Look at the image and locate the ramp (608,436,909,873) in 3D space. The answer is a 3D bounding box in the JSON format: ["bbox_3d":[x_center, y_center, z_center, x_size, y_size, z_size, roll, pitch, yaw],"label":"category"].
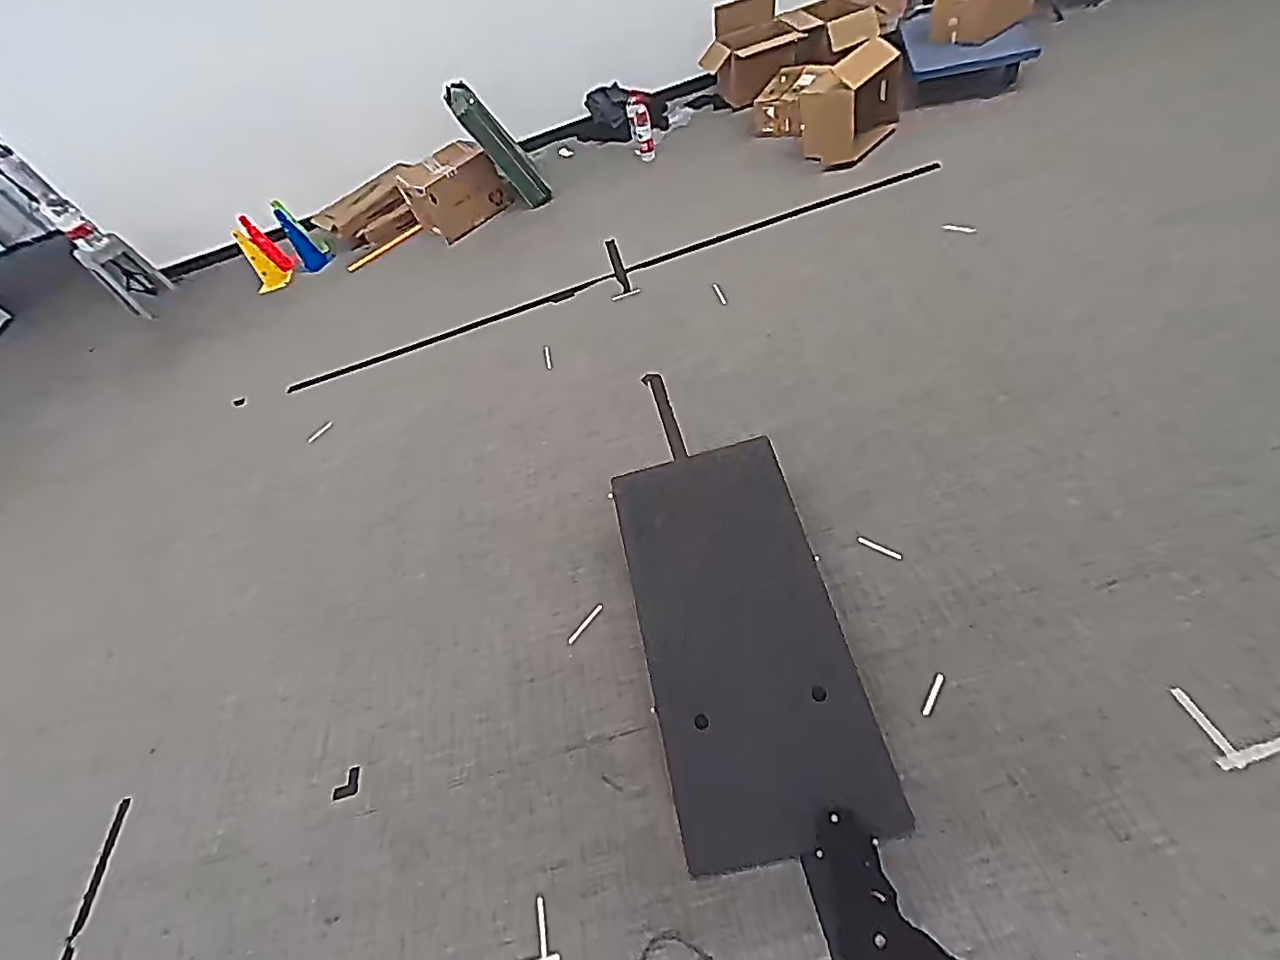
[{"bbox_3d":[0.239,0.362,1.387,0.509,0.206,0.991,-17,51,3],"label":"ramp"}]
